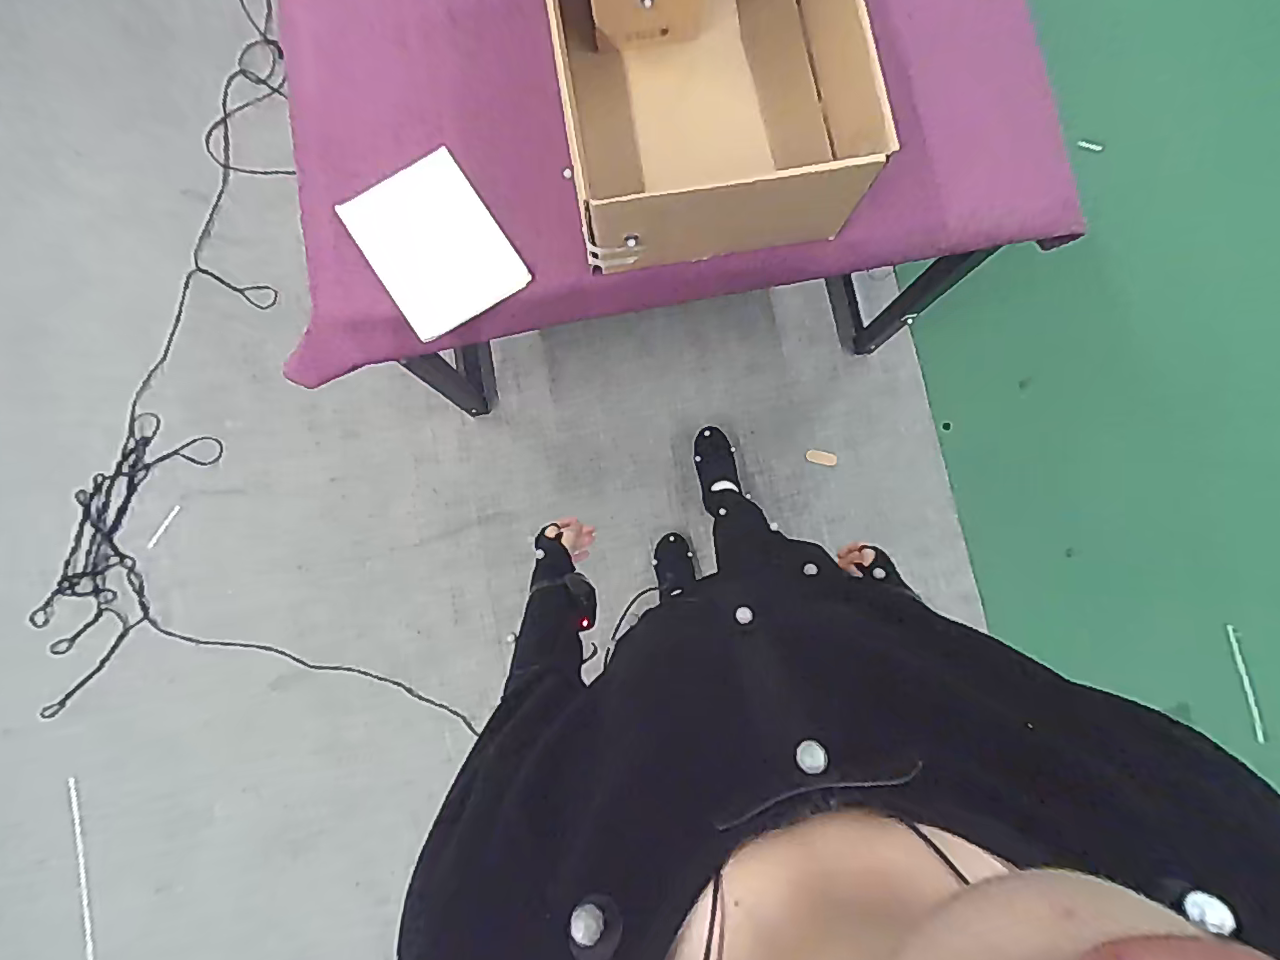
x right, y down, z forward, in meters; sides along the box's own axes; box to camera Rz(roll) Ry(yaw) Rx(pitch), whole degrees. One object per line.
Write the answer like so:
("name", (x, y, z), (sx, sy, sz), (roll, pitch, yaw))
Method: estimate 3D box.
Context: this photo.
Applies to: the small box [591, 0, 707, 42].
("small box", (0.007, -0.761, 0.758), (0.168, 0.176, 0.179), (-9, 86, -1))
